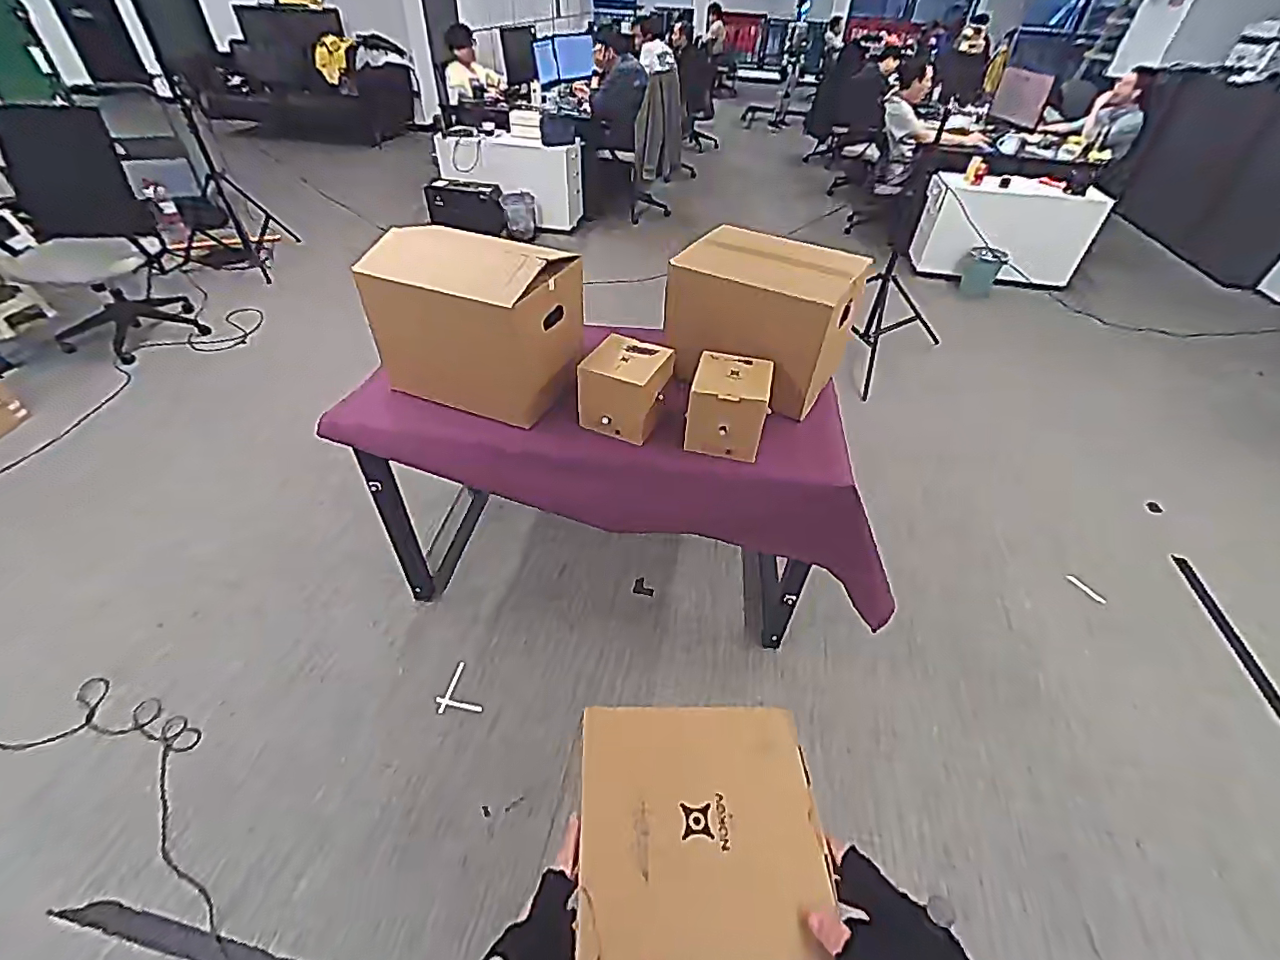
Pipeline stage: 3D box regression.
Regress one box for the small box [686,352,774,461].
[{"bbox_3d":[0.203,-0.167,1.235,0.168,0.176,0.179,11,43,8],"label":"small box"}]
